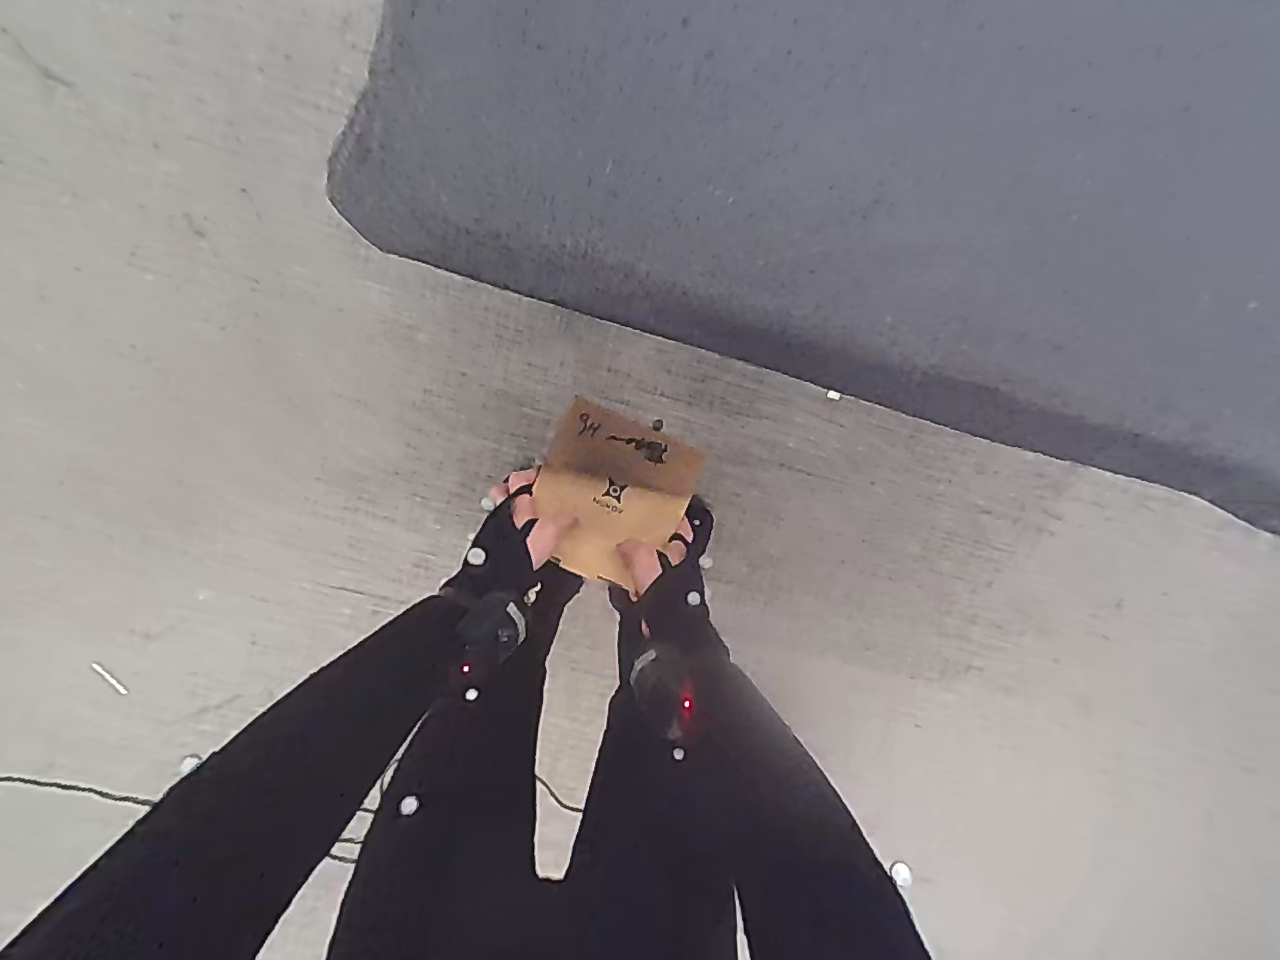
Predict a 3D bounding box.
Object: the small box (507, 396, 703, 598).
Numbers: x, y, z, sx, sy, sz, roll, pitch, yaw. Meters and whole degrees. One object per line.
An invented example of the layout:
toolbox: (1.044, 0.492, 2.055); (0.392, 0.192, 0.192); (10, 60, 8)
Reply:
small box: (-0.043, 0.017, 0.664); (0.168, 0.176, 0.179); (23, 90, -7)
